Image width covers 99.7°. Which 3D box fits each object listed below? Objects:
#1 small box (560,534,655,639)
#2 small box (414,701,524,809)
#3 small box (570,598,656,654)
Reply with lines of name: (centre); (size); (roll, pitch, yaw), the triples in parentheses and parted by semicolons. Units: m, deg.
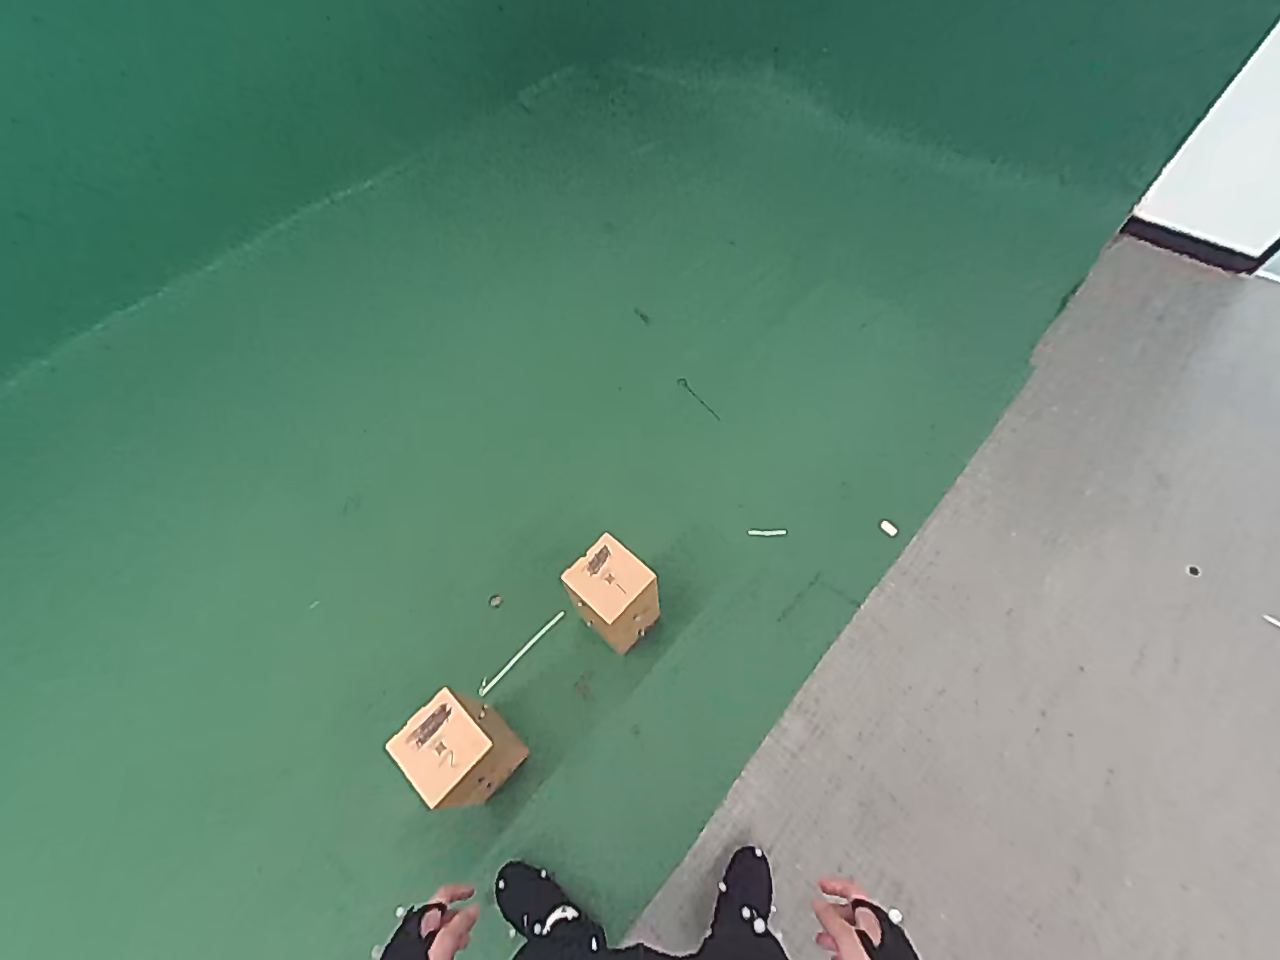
small box: (-0.078, 0.276, 1.378); (0.179, 0.176, 0.168); (39, 68, 22)
small box: (-0.418, 0.685, 1.352); (0.179, 0.176, 0.168); (37, 69, 23)
small box: (-0.072, 0.361, 1.519); (0.179, 0.176, 0.168); (39, 69, 22)
